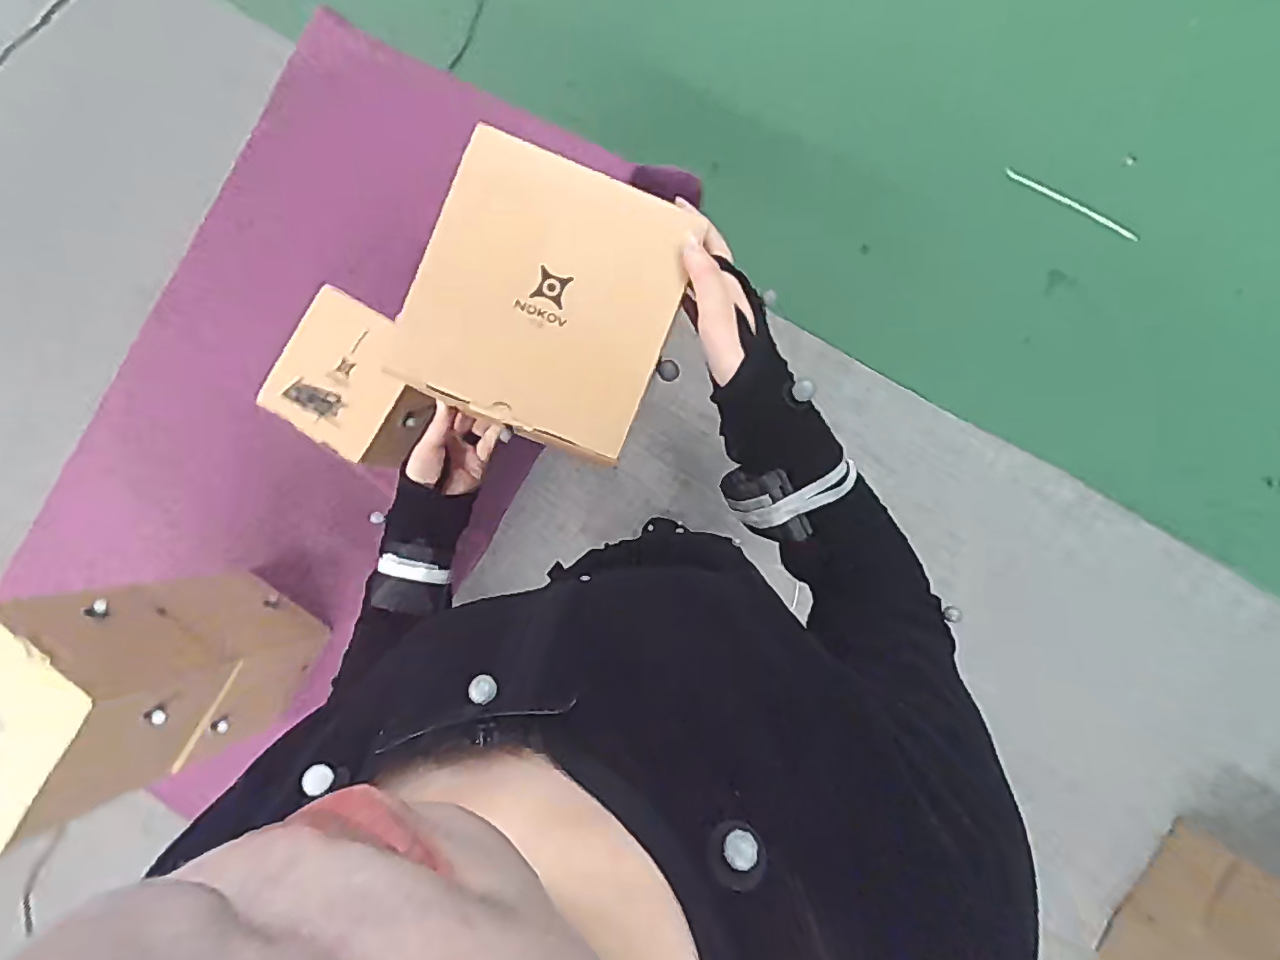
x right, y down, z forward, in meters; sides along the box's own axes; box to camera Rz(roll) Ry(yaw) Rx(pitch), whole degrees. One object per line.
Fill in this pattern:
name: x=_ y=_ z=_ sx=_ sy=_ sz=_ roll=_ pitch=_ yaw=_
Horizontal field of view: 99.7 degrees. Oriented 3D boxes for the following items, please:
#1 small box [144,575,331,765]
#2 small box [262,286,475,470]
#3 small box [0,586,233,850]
small box: x=-0.587 y=0.246 z=0.754 sx=0.179 sy=0.176 sz=0.168 roll=32 pitch=90 yaw=7
small box: x=-0.362 y=-0.128 z=0.756 sx=0.168 sy=0.176 sz=0.179 roll=31 pitch=89 yaw=7
small box: x=-0.603 y=0.235 z=0.591 sx=0.168 sy=0.176 sz=0.179 roll=33 pitch=90 yaw=7
